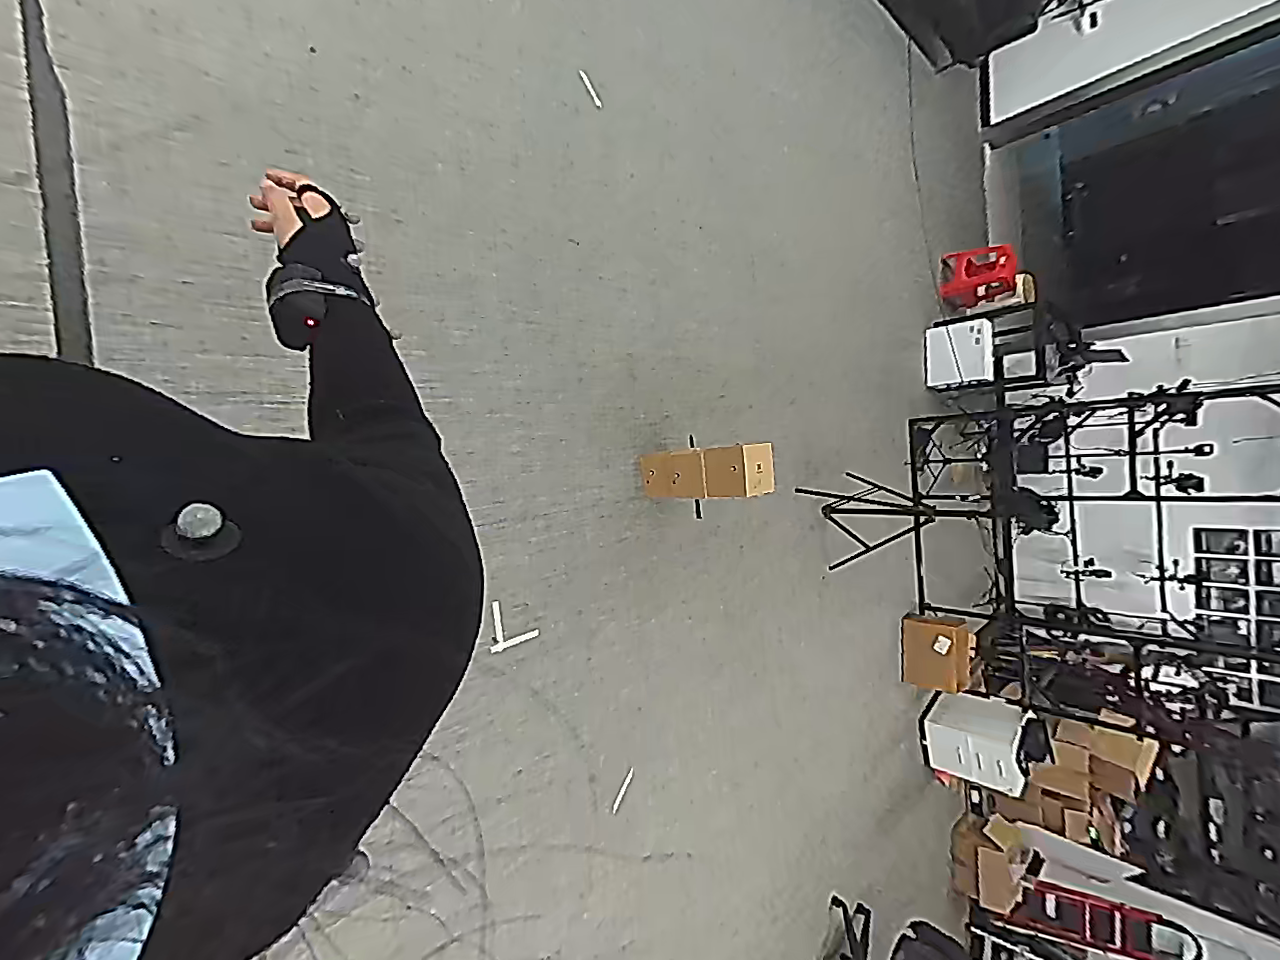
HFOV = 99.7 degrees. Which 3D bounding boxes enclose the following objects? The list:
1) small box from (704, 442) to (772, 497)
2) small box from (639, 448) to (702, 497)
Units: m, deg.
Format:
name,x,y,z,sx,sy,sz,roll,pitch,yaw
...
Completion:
name,x,y,z,sx,sy,sz,roll,pitch,yaw
small box,0.337,-0.035,1.878,0.168,0.176,0.179,-8,95,-42
small box,0.119,-0.031,2.126,0.179,0.176,0.168,-15,99,-43
